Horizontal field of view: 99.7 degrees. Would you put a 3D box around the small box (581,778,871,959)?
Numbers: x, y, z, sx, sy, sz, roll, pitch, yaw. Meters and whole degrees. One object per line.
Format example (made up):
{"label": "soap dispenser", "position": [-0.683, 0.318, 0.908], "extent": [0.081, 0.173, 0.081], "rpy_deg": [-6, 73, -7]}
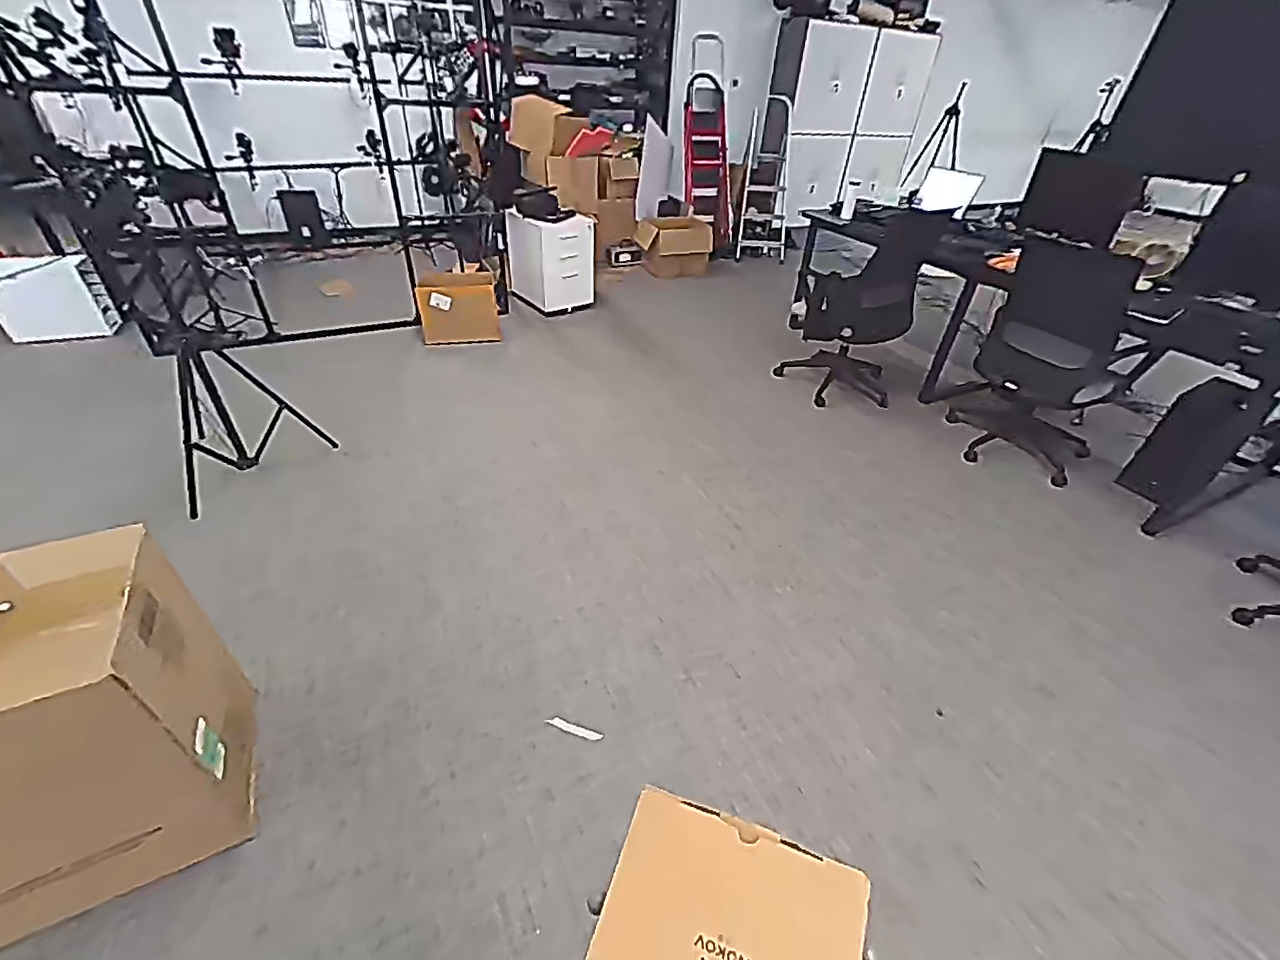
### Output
{"label": "small box", "position": [0.055, 0.355, 0.390], "extent": [0.168, 0.176, 0.179], "rpy_deg": [13, 51, 17]}
